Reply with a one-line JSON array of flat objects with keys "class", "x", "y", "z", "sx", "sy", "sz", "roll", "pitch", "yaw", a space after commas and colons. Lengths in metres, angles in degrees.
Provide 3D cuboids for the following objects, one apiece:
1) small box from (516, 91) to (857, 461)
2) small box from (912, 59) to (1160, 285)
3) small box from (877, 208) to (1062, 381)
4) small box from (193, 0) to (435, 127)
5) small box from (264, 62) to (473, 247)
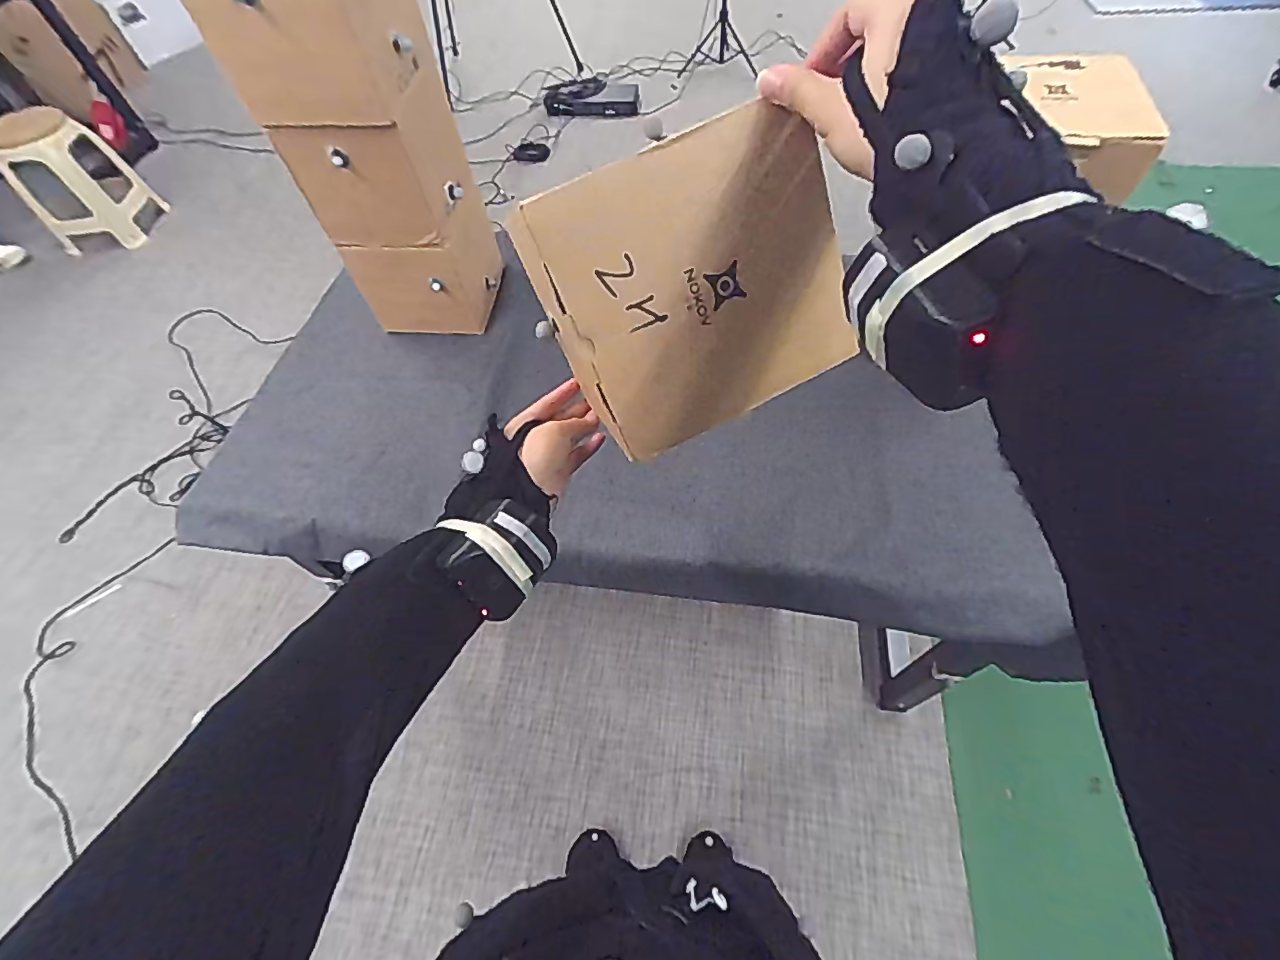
[{"class": "small box", "x": 0.023, "y": -0.144, "z": 0.397, "sx": 0.179, "sy": 0.168, "sz": 0.176, "roll": -25, "pitch": 26, "yaw": -4}, {"class": "small box", "x": 0.432, "y": -0.351, "z": 0.628, "sx": 0.168, "sy": 0.176, "sz": 0.179, "roll": 8, "pitch": 60, "yaw": 9}, {"class": "small box", "x": 0.447, "y": -0.268, "z": 0.769, "sx": 0.168, "sy": 0.176, "sz": 0.179, "roll": 7, "pitch": 60, "yaw": 9}, {"class": "small box", "x": -0.362, "y": -0.522, "z": 0.602, "sx": 0.179, "sy": 0.176, "sz": 0.168, "roll": 5, "pitch": 60, "yaw": 6}, {"class": "small box", "x": -0.355, "y": -0.444, "z": 0.747, "sx": 0.179, "sy": 0.176, "sz": 0.168, "roll": 3, "pitch": 60, "yaw": 4}]
